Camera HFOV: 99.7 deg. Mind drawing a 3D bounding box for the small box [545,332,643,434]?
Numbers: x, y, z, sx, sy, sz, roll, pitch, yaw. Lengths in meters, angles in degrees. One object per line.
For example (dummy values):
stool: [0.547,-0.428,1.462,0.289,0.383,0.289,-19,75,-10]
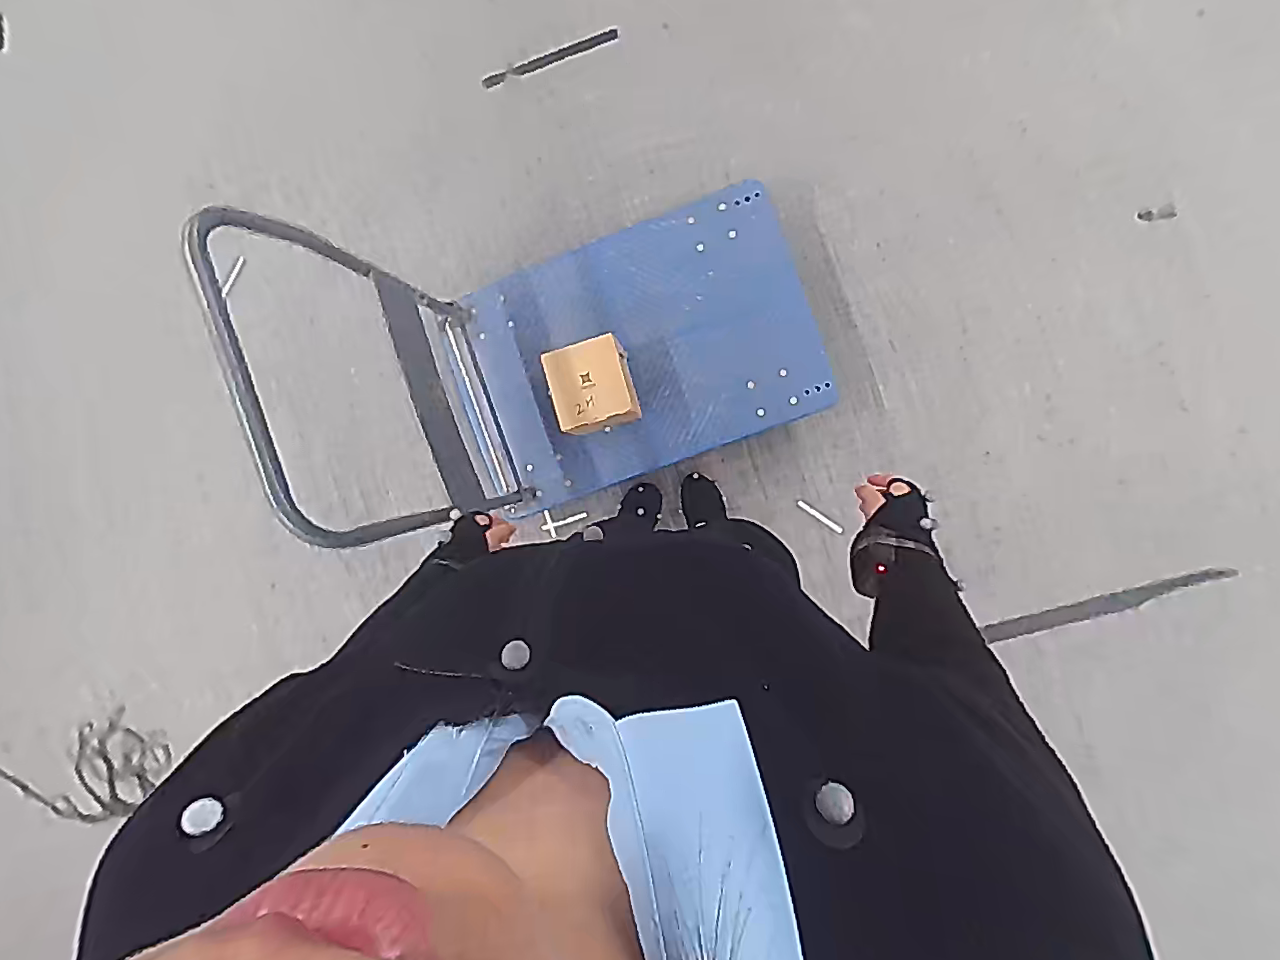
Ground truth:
small box: [-0.099,-0.214,1.235,0.168,0.176,0.179,-16,90,7]
